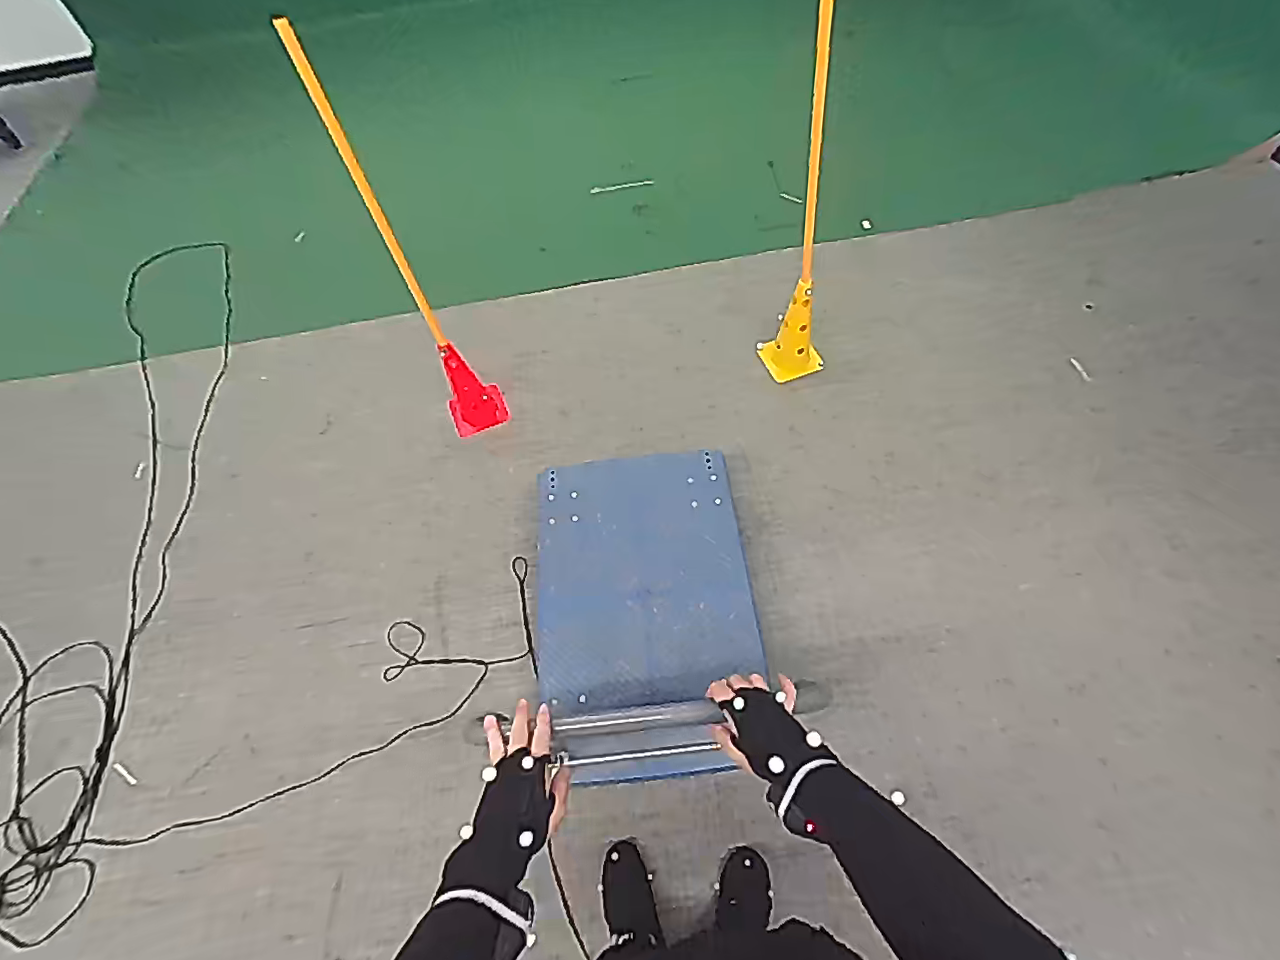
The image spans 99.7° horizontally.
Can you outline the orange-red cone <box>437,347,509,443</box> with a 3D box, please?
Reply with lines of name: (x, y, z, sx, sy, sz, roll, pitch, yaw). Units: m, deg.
orange-red cone: (-0.619, -0.324, 1.886, 0.199, 0.360, 0.198, -23, 59, -7)
